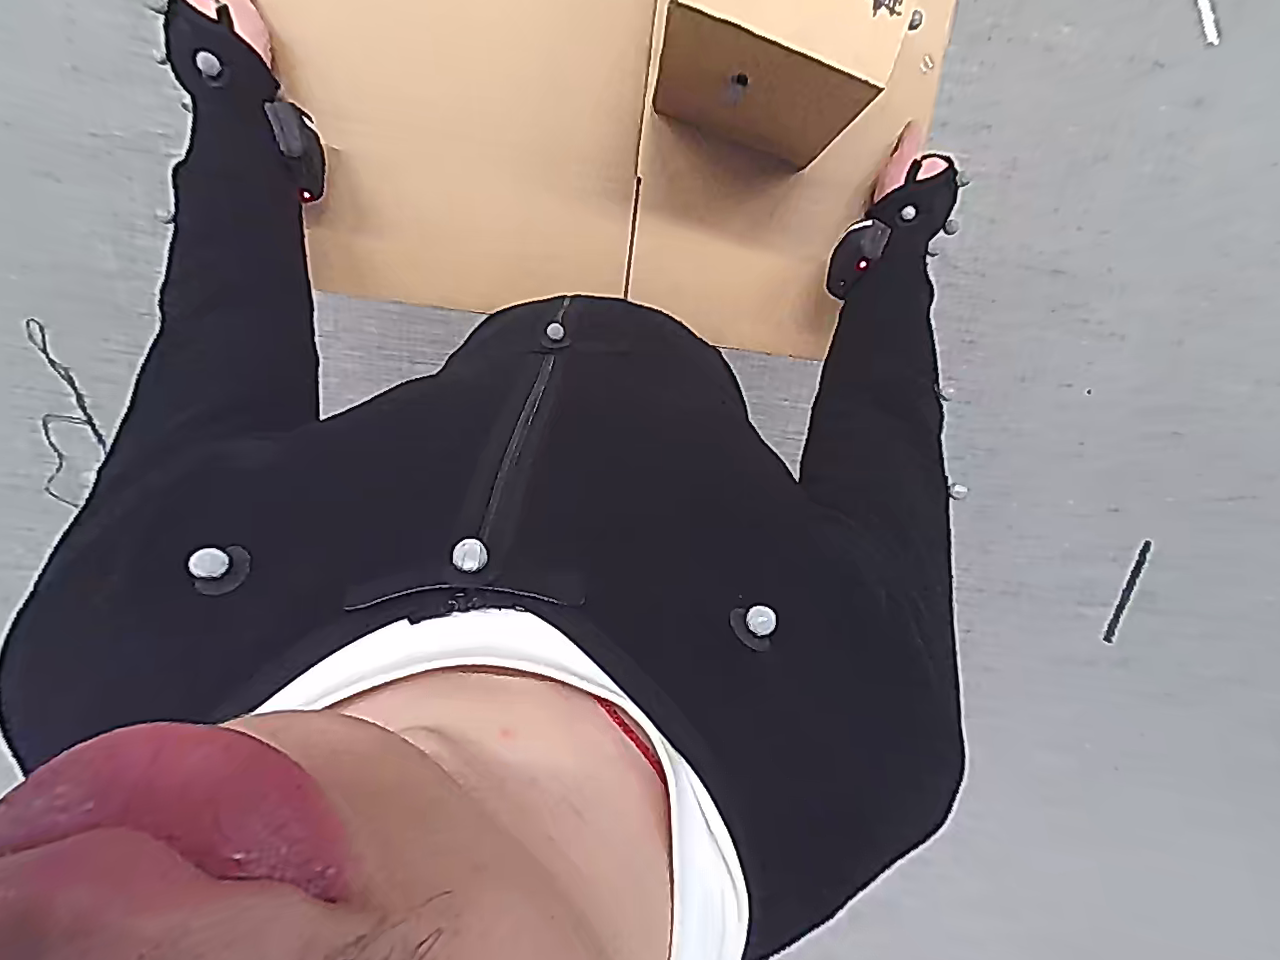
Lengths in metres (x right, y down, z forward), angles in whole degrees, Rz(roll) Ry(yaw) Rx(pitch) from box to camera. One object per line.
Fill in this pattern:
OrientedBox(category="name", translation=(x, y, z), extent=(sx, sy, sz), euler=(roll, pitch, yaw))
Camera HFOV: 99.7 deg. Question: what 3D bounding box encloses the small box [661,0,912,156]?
OrientedBox(category="small box", translation=(0.125, -0.418, 0.472), extent=(0.179, 0.176, 0.168), euler=(17, 101, -6))
